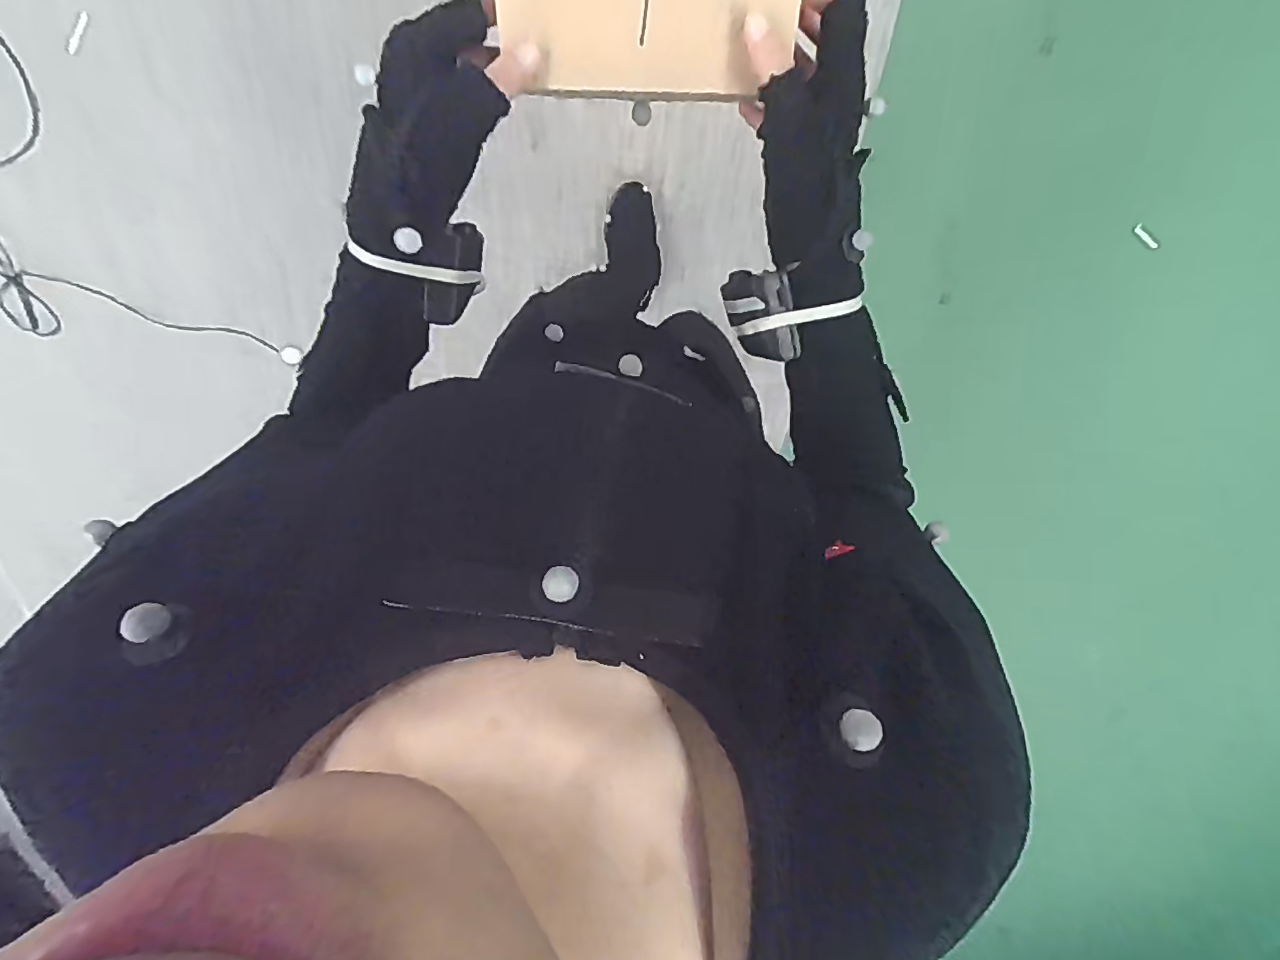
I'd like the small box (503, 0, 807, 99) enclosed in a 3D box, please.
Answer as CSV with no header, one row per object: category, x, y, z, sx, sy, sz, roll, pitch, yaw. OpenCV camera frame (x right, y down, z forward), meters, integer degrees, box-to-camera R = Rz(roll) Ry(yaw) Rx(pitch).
small box,0.012,-0.343,0.327,0.168,0.176,0.179,2,125,1
